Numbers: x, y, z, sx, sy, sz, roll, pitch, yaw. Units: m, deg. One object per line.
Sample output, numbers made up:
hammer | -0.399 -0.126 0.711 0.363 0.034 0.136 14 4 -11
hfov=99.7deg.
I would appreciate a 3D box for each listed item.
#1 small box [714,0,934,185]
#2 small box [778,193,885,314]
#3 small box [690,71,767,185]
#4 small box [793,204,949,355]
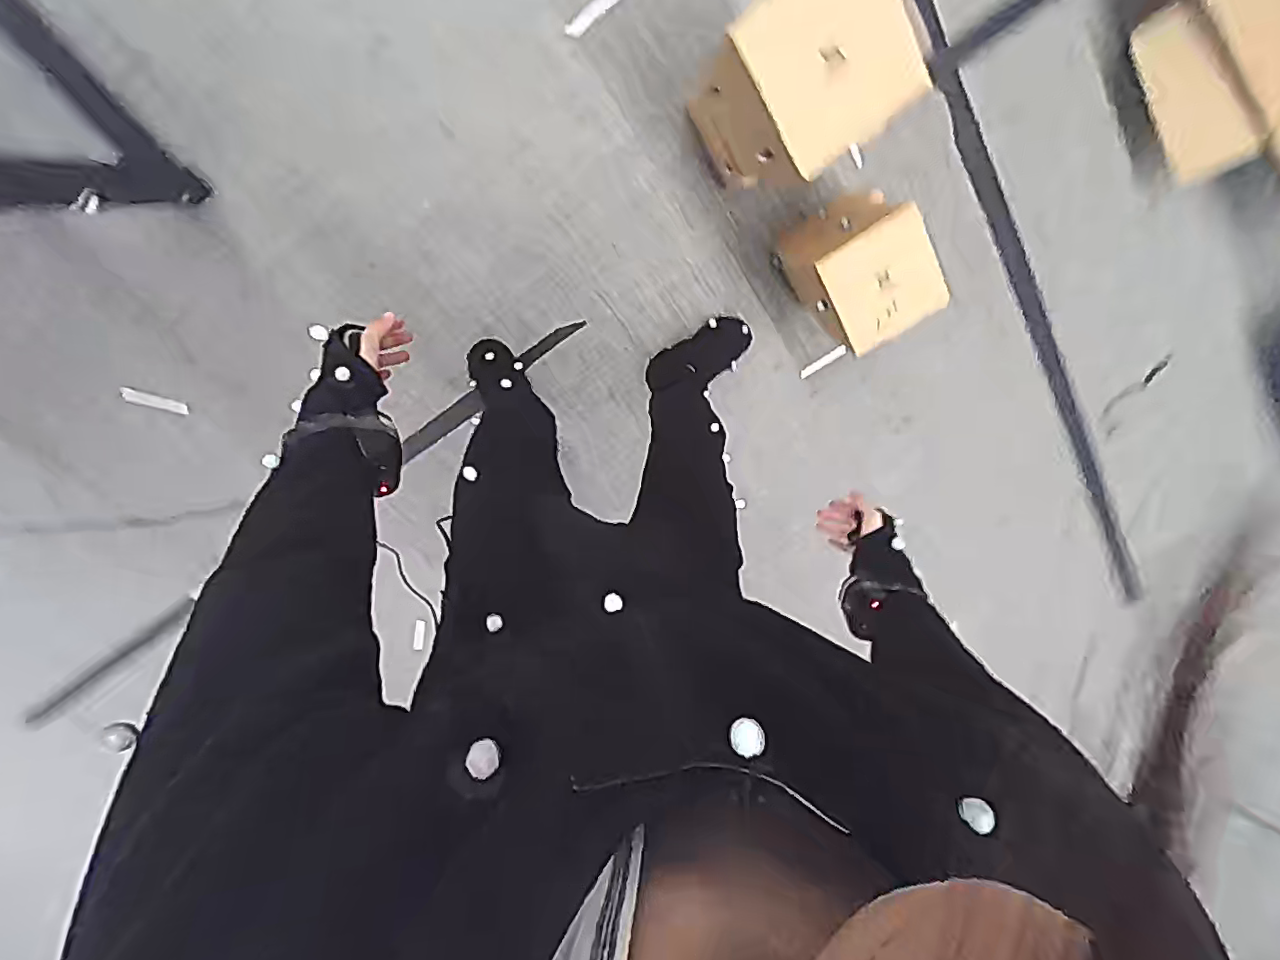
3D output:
small box | 0.213 -0.493 0.661 0.168 0.176 0.179 -34 114 12
small box | 0.391 -0.438 1.069 0.179 0.176 0.168 -32 115 13
small box | 0.203 -0.645 0.951 0.168 0.176 0.179 -31 115 13
small box | 0.386 -0.348 0.930 0.168 0.176 0.179 -30 116 13
